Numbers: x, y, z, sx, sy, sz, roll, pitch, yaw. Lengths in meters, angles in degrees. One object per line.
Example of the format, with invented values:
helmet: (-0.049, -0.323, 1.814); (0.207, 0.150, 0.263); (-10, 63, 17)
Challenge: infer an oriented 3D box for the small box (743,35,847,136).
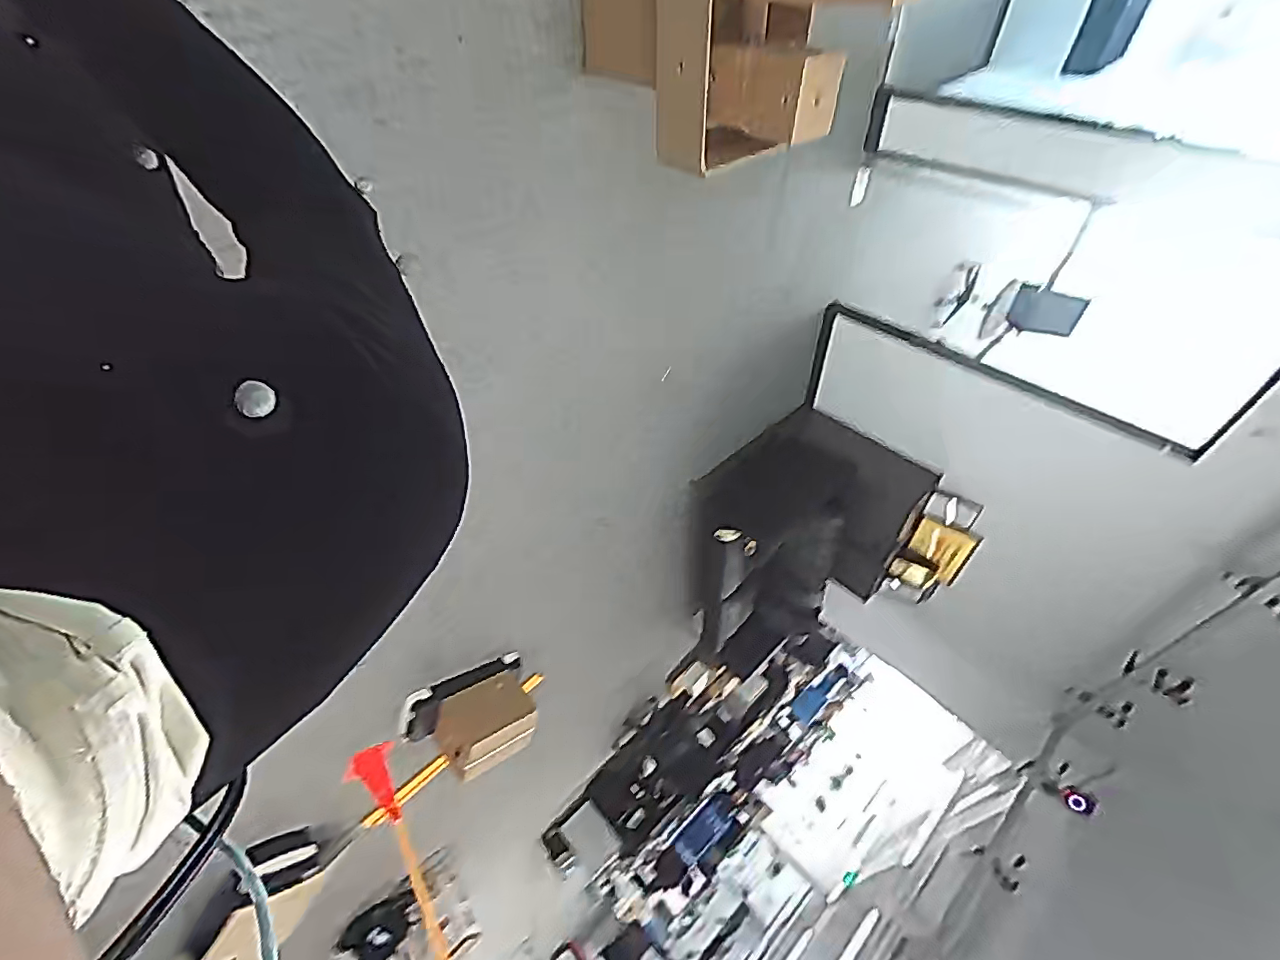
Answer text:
small box: (0.377, -0.988, 1.346); (0.168, 0.176, 0.179); (-33, 146, -27)
